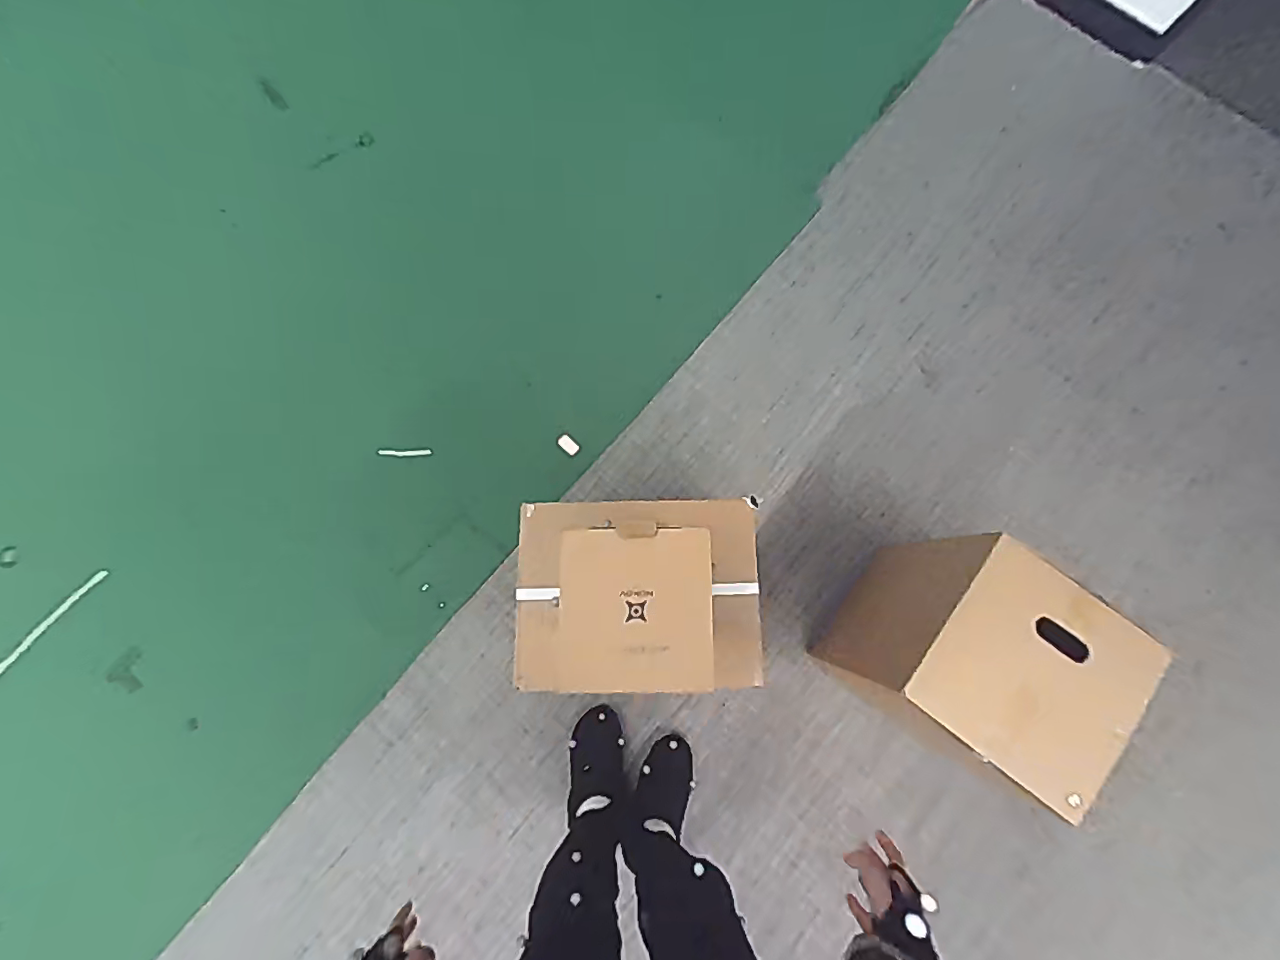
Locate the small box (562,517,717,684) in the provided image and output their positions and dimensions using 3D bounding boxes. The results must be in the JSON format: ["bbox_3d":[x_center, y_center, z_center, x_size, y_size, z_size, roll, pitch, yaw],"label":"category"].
[{"bbox_3d":[-0.001,0.143,0.657,0.168,0.176,0.179,0,79,0],"label":"small box"}]
